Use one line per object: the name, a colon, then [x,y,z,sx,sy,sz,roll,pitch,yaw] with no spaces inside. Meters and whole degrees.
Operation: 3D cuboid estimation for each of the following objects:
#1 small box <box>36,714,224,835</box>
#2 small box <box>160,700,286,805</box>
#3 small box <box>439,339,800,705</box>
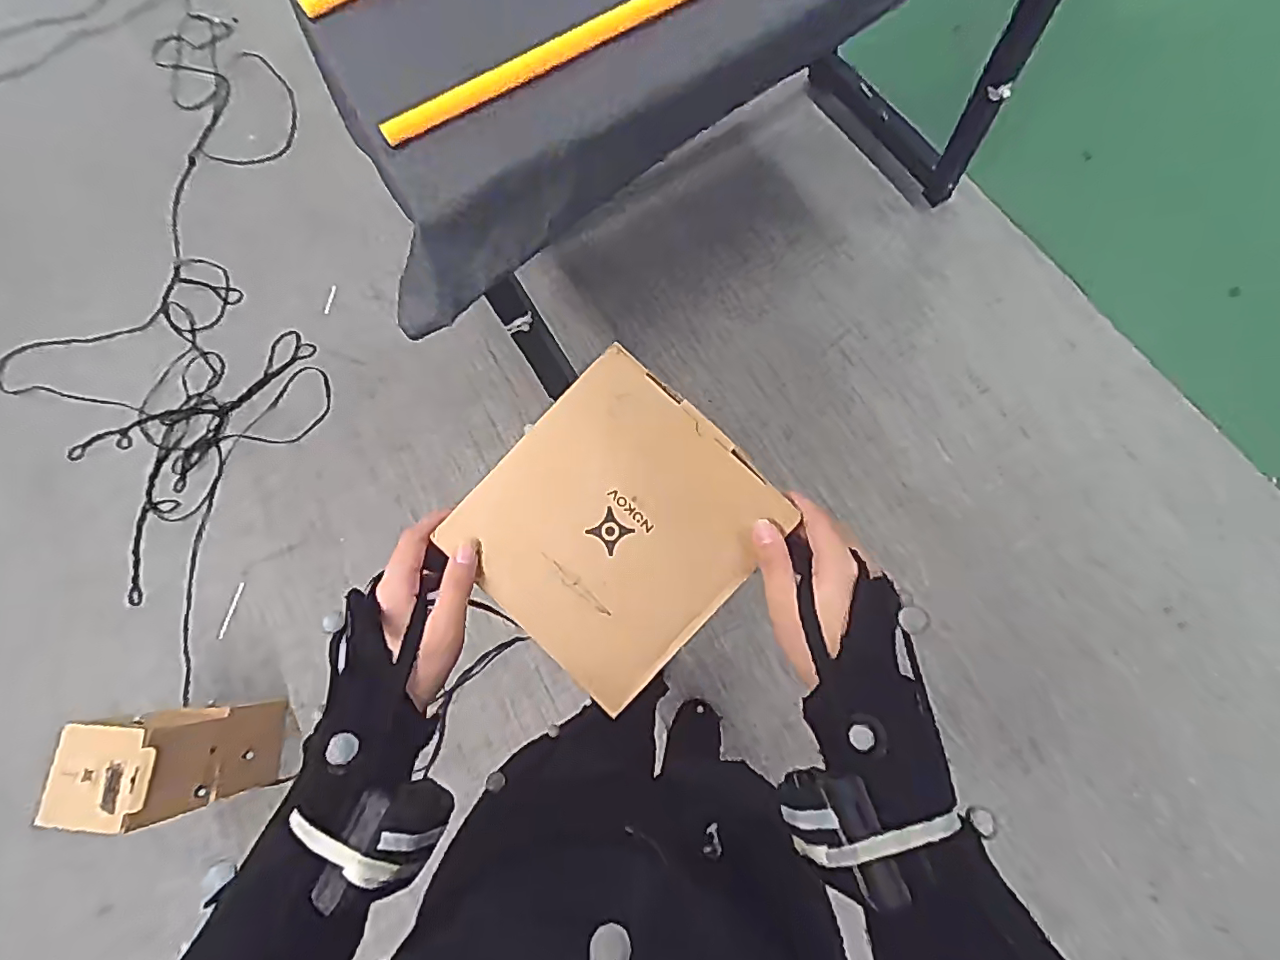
small box: [-0.939,0.541,1.016,0.179,0.176,0.168,0,73,8]
small box: [-0.910,0.583,1.173,0.168,0.176,0.179,-4,73,6]
small box: [-0.011,0.029,0.421,0.168,0.176,0.179,42,90,6]
